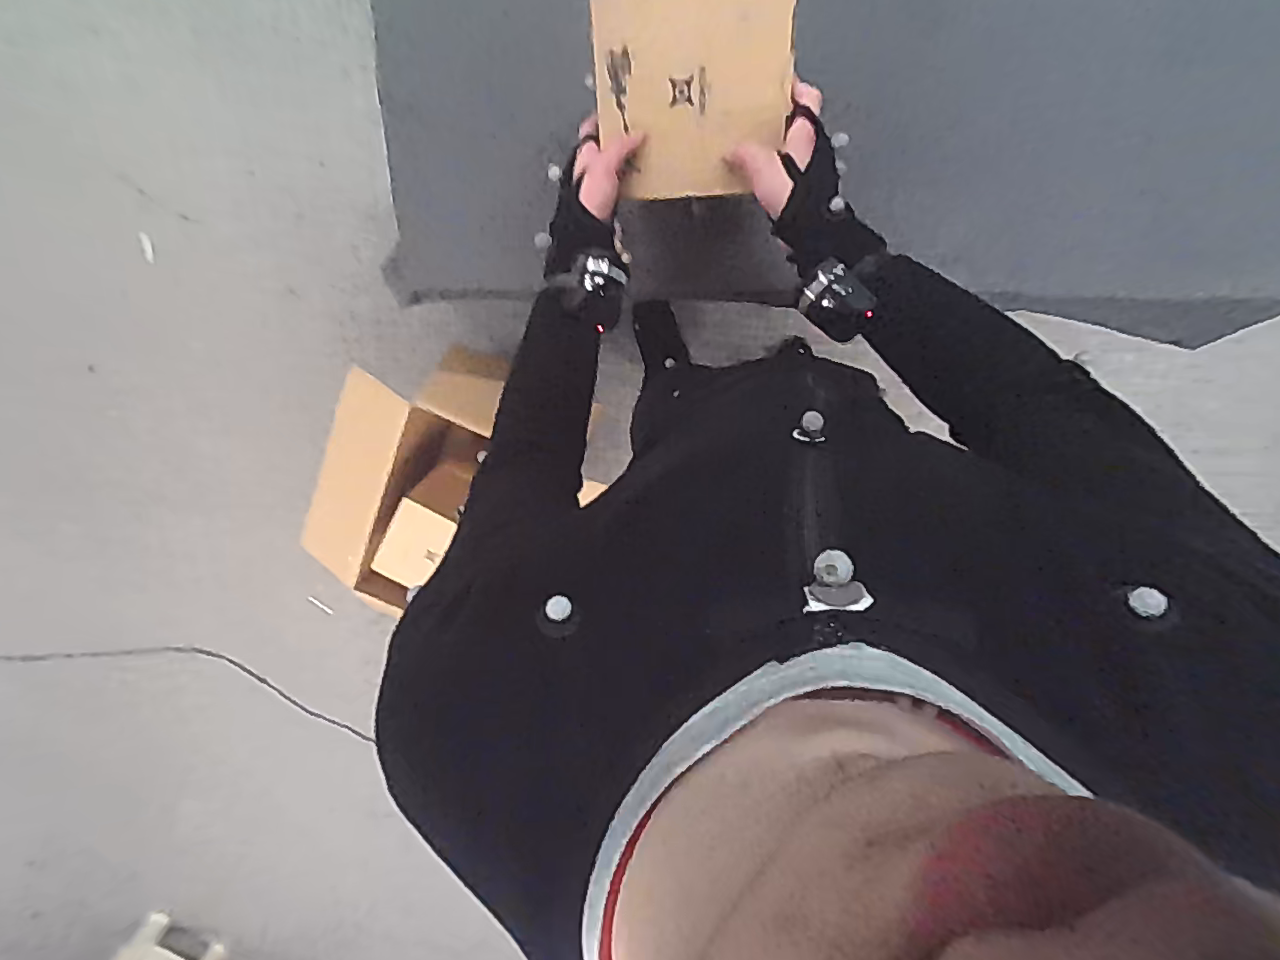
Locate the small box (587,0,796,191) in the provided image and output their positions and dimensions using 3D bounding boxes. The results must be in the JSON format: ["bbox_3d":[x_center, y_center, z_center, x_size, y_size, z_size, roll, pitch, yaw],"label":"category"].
[{"bbox_3d":[0.052,-0.387,0.543,0.179,0.176,0.168,1,117,8],"label":"small box"}]
